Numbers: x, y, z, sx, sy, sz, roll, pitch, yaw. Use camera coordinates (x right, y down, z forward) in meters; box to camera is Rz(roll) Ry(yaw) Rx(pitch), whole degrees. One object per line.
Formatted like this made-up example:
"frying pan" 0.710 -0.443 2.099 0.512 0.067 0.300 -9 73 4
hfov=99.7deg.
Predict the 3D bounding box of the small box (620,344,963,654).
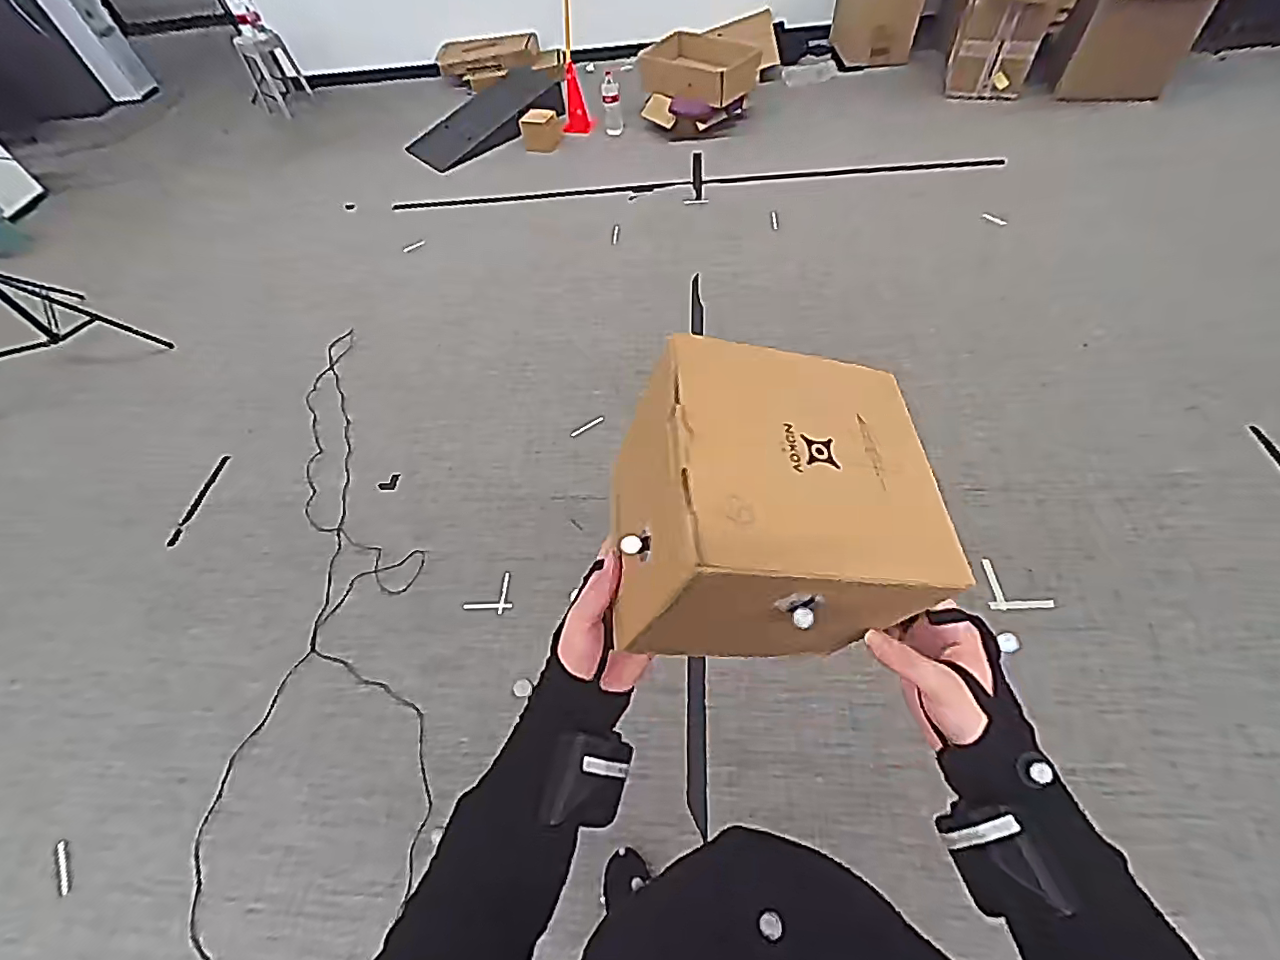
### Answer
"small box" 0.087 0.029 0.409 0.179 0.176 0.168 8 57 -18
